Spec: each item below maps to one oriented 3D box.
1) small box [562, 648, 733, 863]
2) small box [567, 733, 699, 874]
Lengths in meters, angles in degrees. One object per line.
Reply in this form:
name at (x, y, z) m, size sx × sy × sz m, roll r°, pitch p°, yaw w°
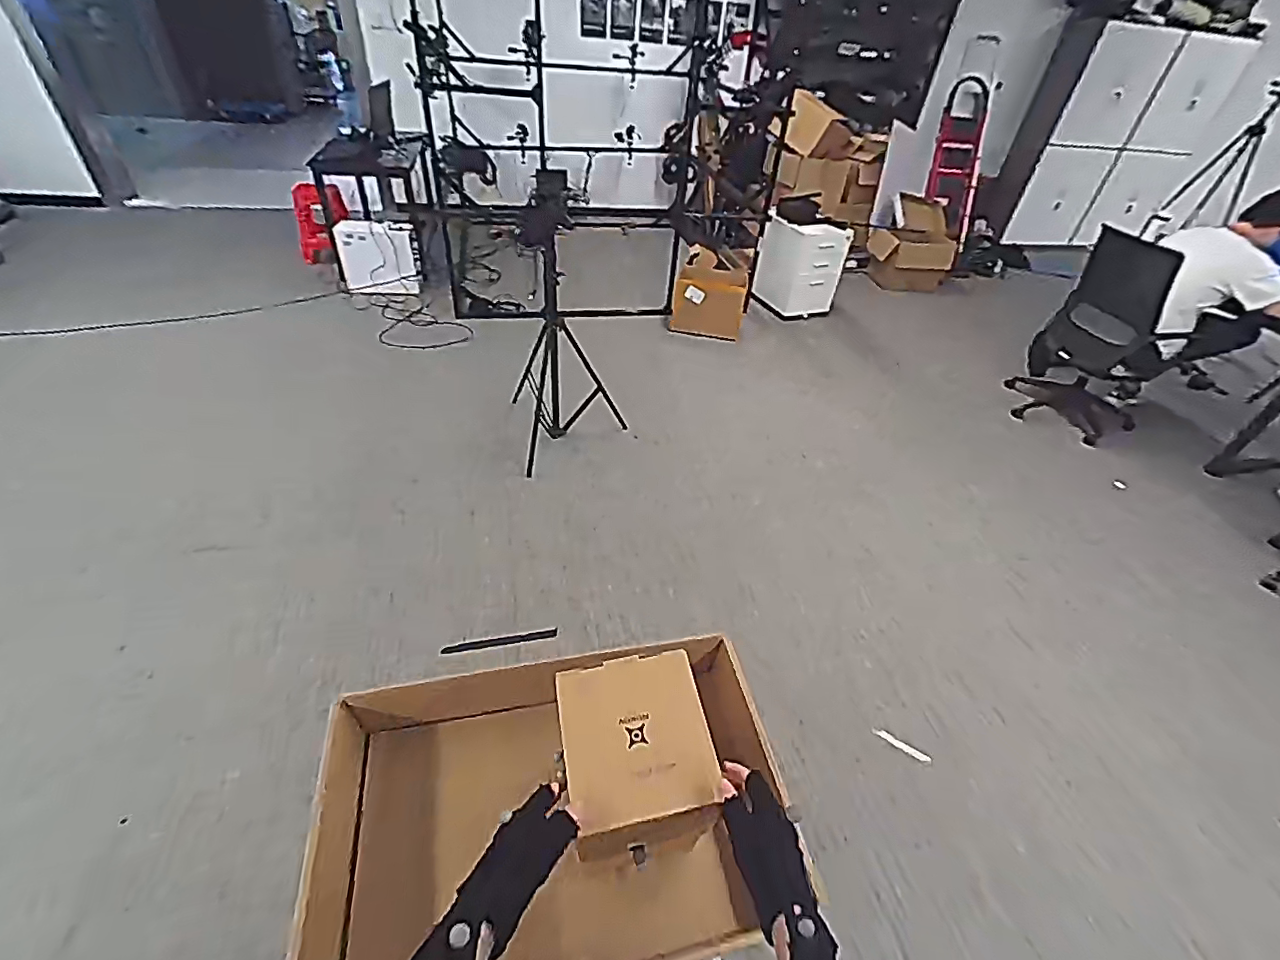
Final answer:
small box at (-0.002, 0.338, 0.666) m, size 0.168 × 0.176 × 0.179 m, roll -9°, pitch 48°, yaw -10°
small box at (-0.011, 0.447, 0.788) m, size 0.179 × 0.176 × 0.168 m, roll -7°, pitch 46°, yaw -11°
